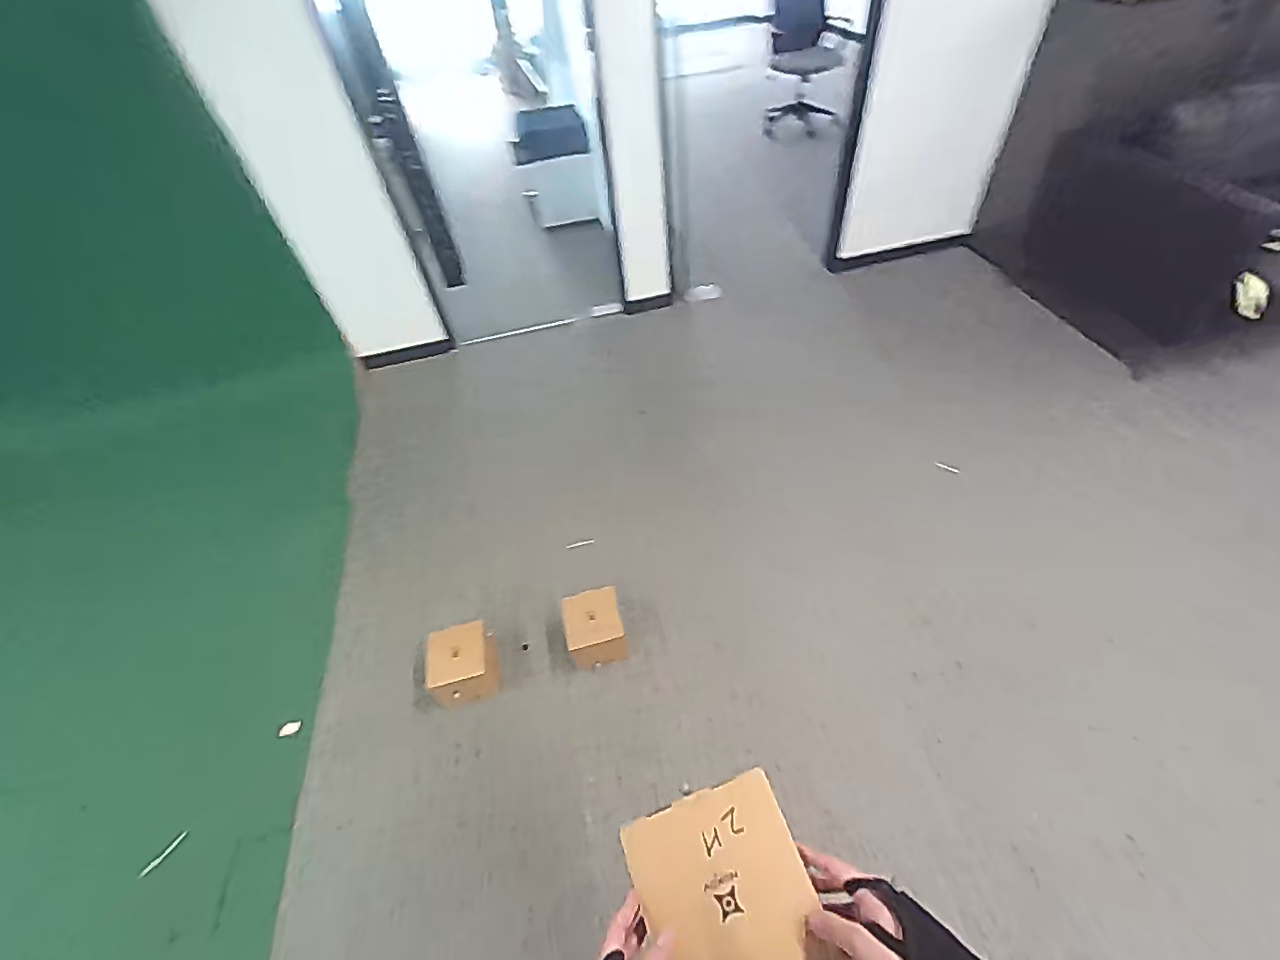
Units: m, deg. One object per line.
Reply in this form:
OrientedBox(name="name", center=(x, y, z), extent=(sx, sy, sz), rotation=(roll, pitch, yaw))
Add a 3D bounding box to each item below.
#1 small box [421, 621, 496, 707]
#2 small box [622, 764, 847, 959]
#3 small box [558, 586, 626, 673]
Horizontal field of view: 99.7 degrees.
OrientedBox(name="small box", center=(-0.532, 0.551, 1.597), extent=(0.168, 0.176, 0.179), rotation=(-14, 47, -6))
OrientedBox(name="small box", center=(0.088, 0.429, 0.582), extent=(0.168, 0.176, 0.179), rotation=(-17, 59, -9))
OrientedBox(name="small box", center=(-0.146, 0.456, 1.639), extent=(0.168, 0.176, 0.179), rotation=(-14, 48, -5))
